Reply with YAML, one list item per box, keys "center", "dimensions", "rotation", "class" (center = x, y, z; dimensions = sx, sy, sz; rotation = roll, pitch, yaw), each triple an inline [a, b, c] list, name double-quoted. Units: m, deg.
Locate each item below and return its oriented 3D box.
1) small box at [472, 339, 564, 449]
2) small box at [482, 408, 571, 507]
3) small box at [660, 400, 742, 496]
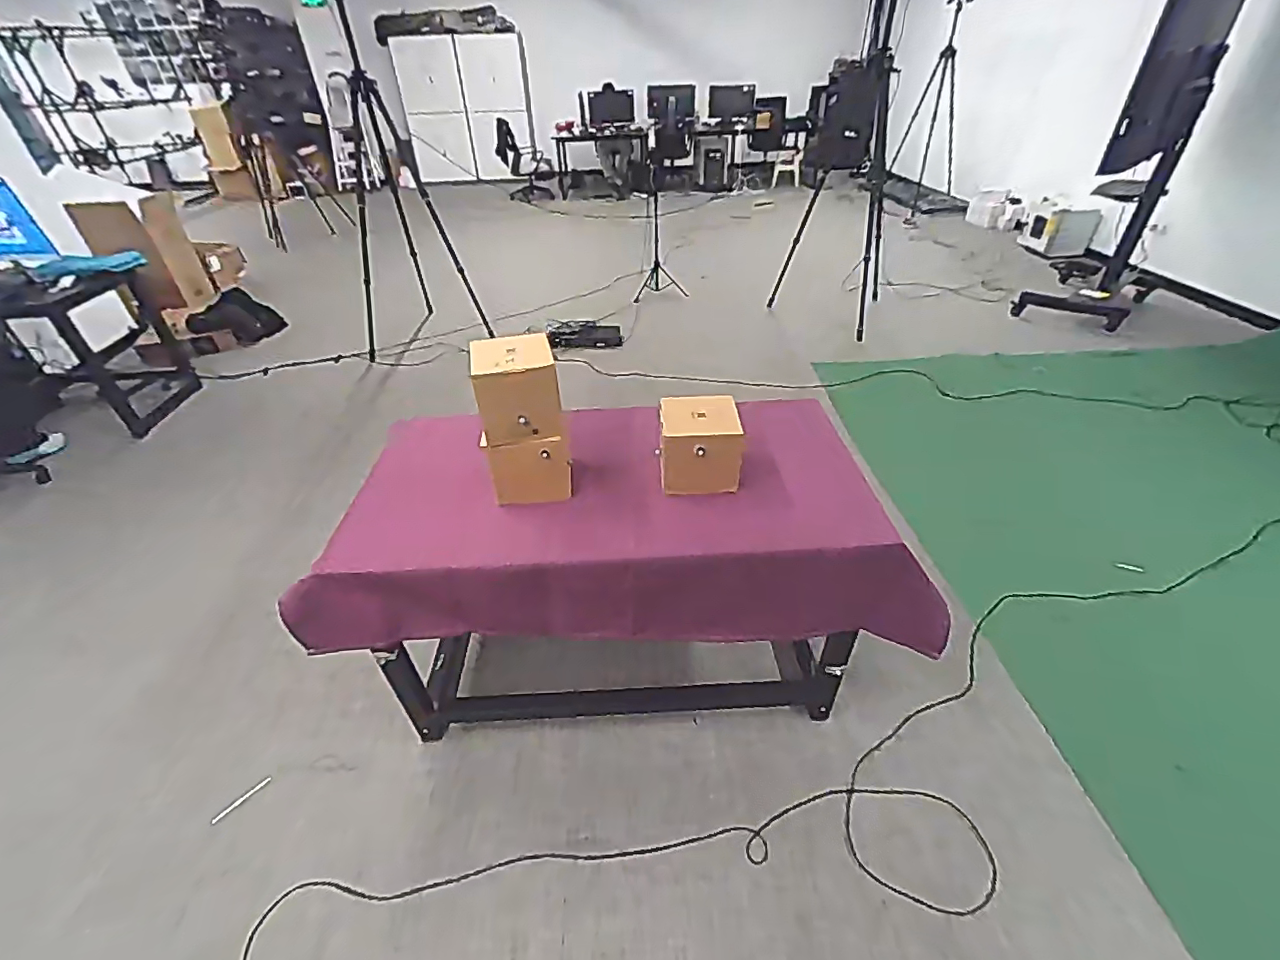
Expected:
- center: [-0.264, -0.189, 1.176]
  dimensions: [0.168, 0.176, 0.179]
  rotation: [-11, 38, -10]
  class: "small box"
- center: [-0.258, -0.051, 1.267]
  dimensions: [0.179, 0.176, 0.168]
  rotation: [-5, 37, -5]
  class: "small box"
- center: [0.138, -0.074, 1.270]
  dimensions: [0.179, 0.176, 0.168]
  rotation: [-1, 38, 1]
  class: "small box"
